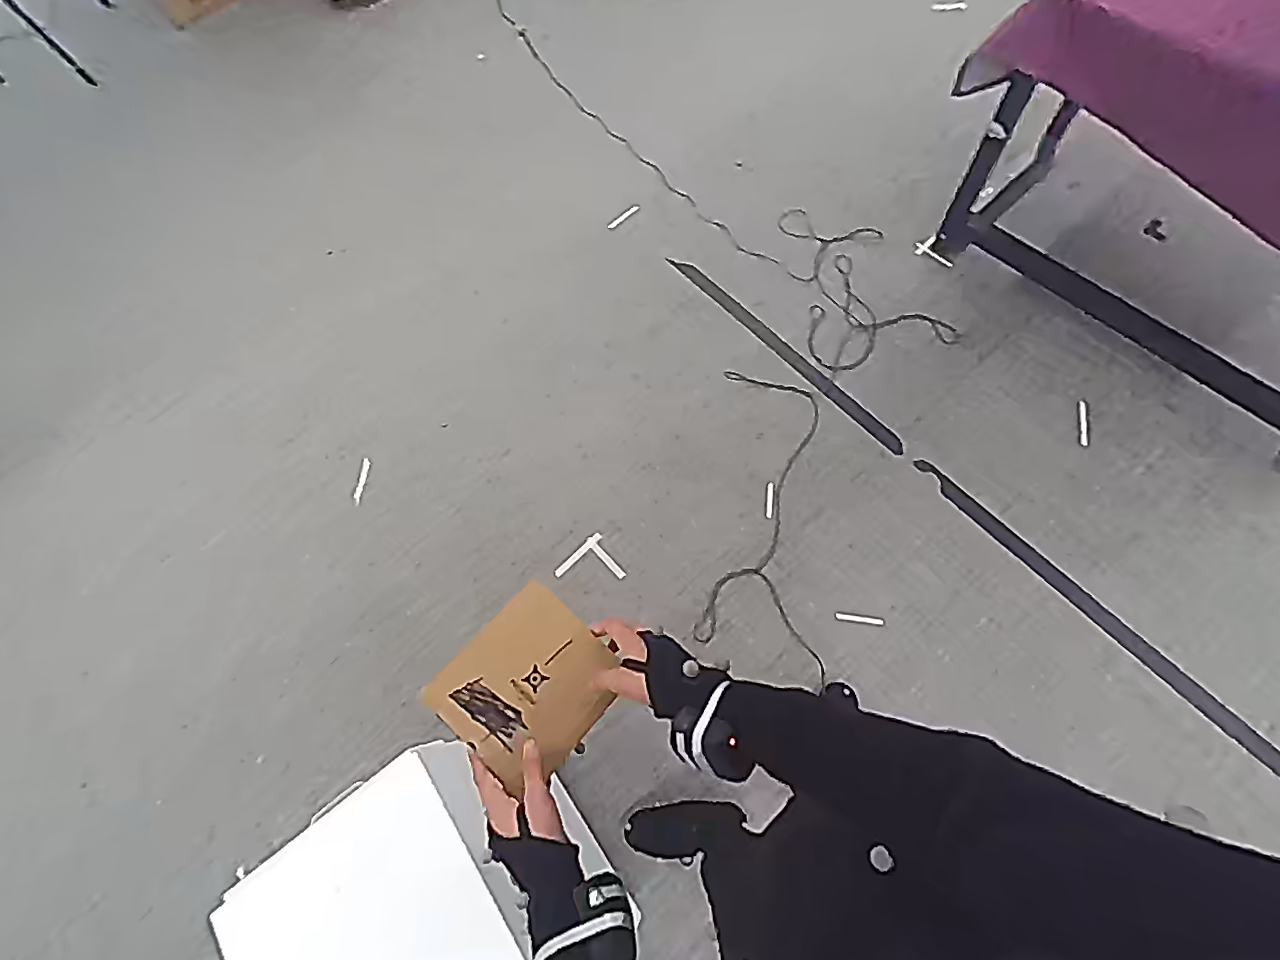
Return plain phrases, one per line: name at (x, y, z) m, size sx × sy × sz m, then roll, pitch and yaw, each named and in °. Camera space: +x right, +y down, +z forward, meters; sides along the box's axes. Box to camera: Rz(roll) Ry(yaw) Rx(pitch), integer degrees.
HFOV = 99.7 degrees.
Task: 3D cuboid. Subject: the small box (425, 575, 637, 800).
small box at (-0.126, 0.249, 0.669) m, size 0.168 × 0.176 × 0.179 m, roll 42°, pitch 70°, yaw 8°
